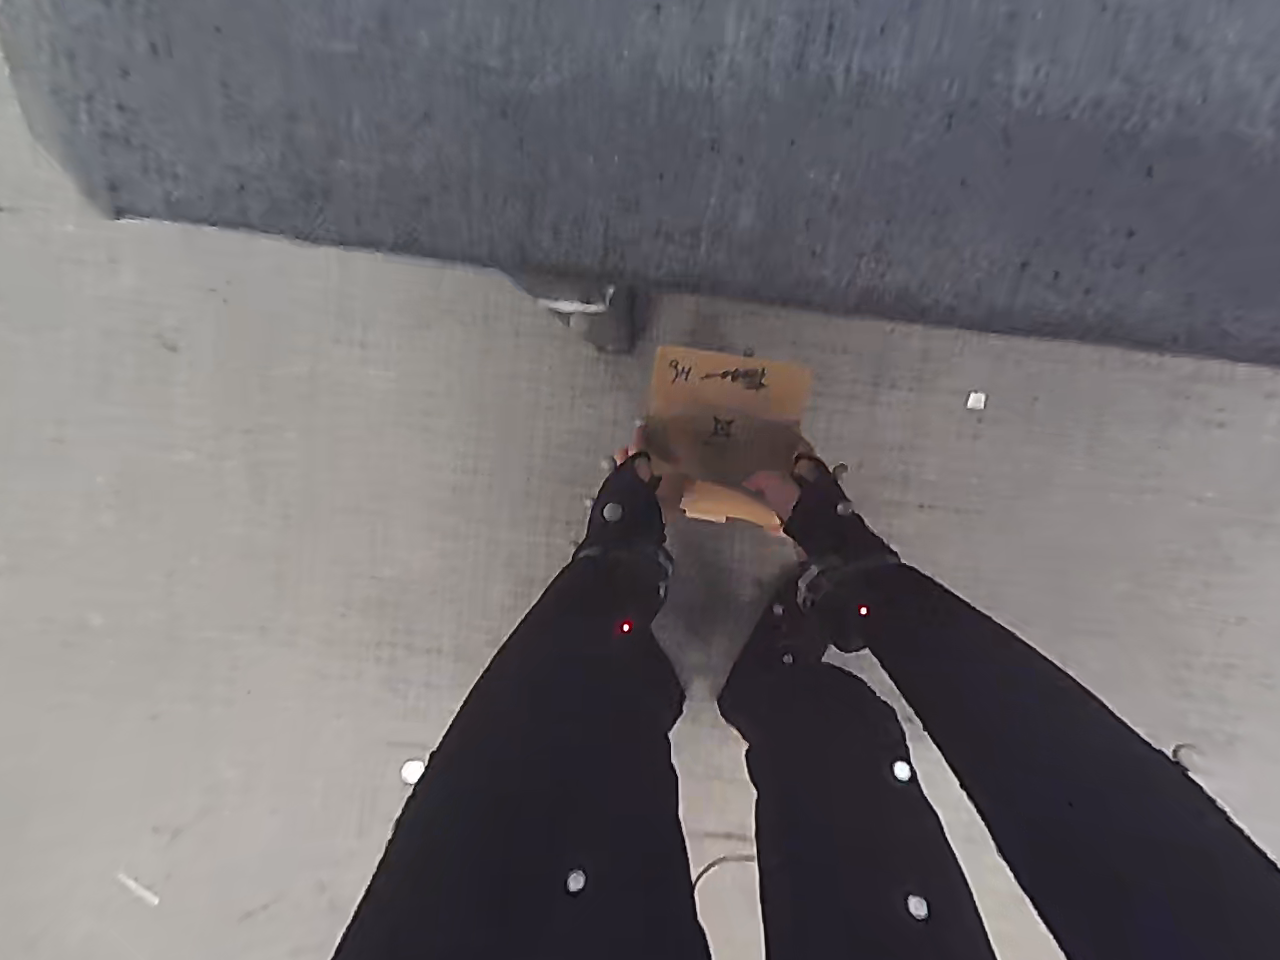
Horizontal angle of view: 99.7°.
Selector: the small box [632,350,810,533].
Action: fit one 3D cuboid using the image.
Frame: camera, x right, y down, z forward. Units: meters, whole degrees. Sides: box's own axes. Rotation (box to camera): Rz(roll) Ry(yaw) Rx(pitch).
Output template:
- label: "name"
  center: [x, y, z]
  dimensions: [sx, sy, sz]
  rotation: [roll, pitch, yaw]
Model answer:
- label: "small box"
  center: [0.089, -0.048, 0.651]
  dimensions: [0.168, 0.176, 0.179]
  rotation: [8, 96, 2]
